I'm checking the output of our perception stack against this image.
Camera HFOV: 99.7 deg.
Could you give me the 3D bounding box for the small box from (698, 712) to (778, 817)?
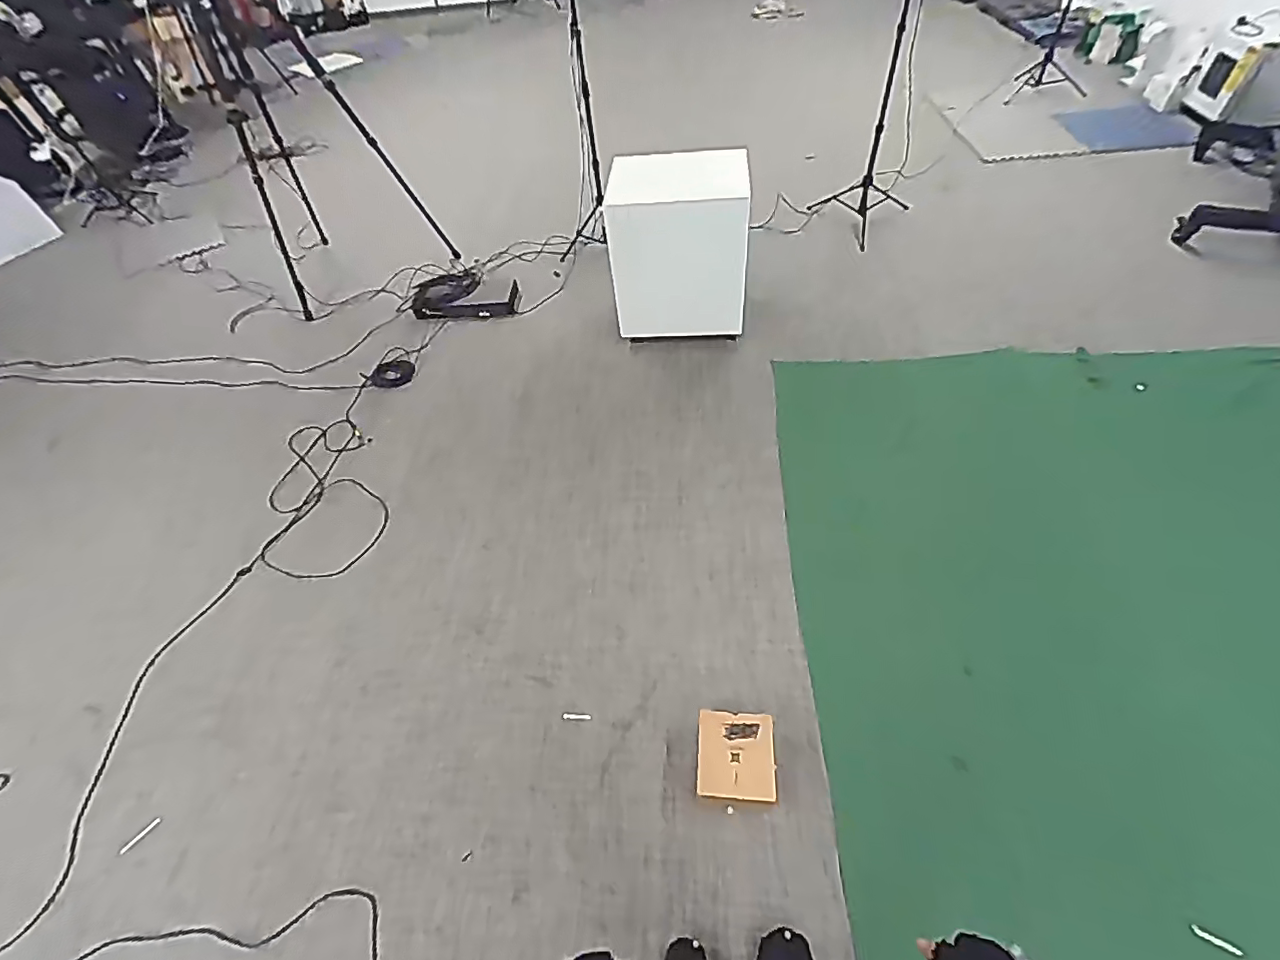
[{"bbox_3d":[0.219,0.651,1.236,0.168,0.176,0.179,1,53,8],"label":"small box"}]
